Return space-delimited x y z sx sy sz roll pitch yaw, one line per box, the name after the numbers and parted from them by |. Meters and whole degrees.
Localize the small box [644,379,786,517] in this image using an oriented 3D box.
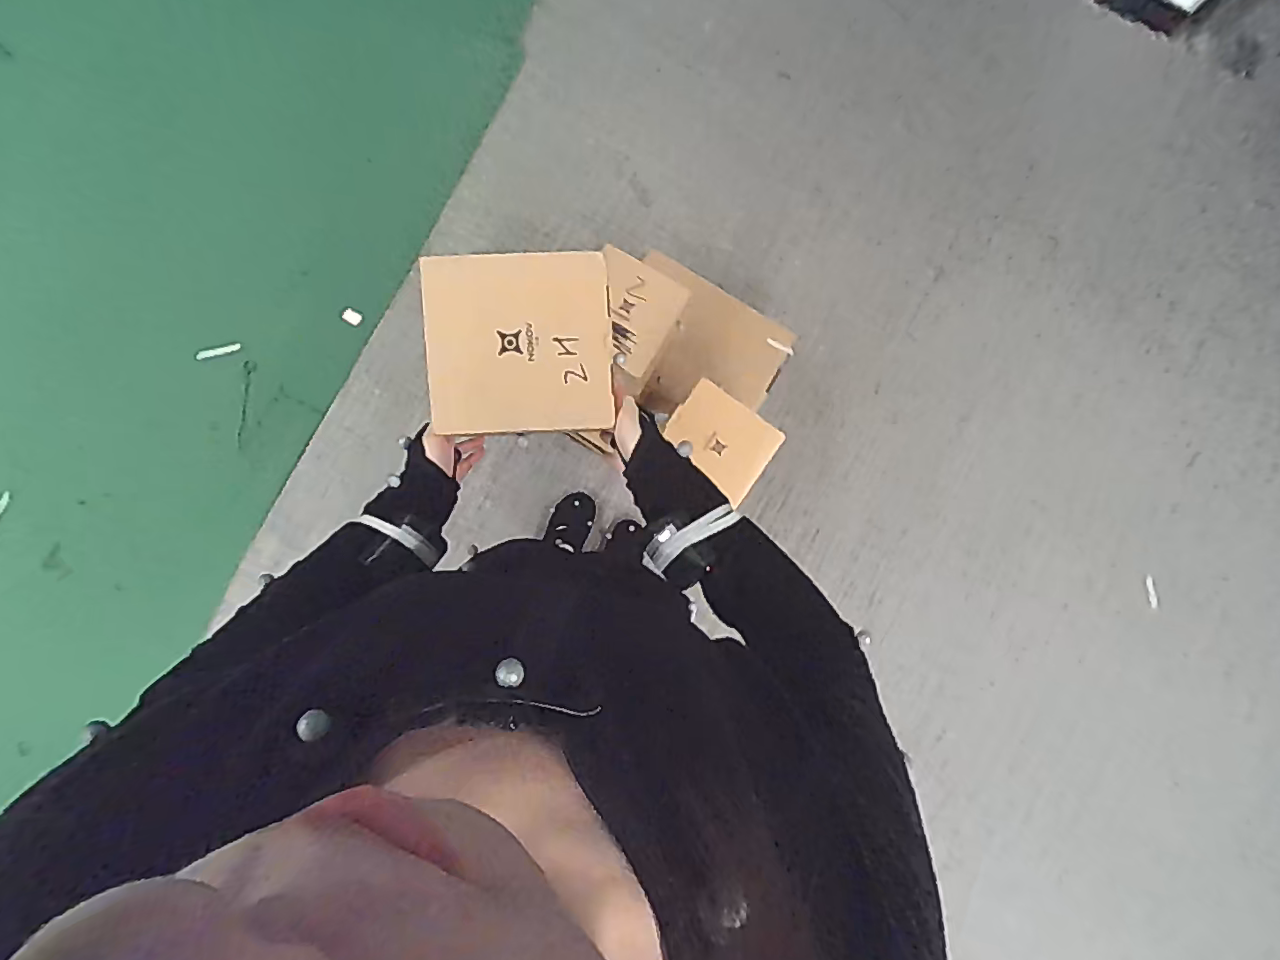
0.124 -0.053 0.966 0.179 0.176 0.168 36 87 -1 | small box

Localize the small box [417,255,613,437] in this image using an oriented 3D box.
-0.119 -0.131 0.583 0.179 0.176 0.168 -3 96 -3 | small box

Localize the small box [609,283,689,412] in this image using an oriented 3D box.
-0.022 -0.268 1.134 0.168 0.176 0.179 35 86 1 | small box

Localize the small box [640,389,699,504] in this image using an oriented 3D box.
0.112 -0.060 1.129 0.168 0.176 0.179 35 86 -2 | small box
